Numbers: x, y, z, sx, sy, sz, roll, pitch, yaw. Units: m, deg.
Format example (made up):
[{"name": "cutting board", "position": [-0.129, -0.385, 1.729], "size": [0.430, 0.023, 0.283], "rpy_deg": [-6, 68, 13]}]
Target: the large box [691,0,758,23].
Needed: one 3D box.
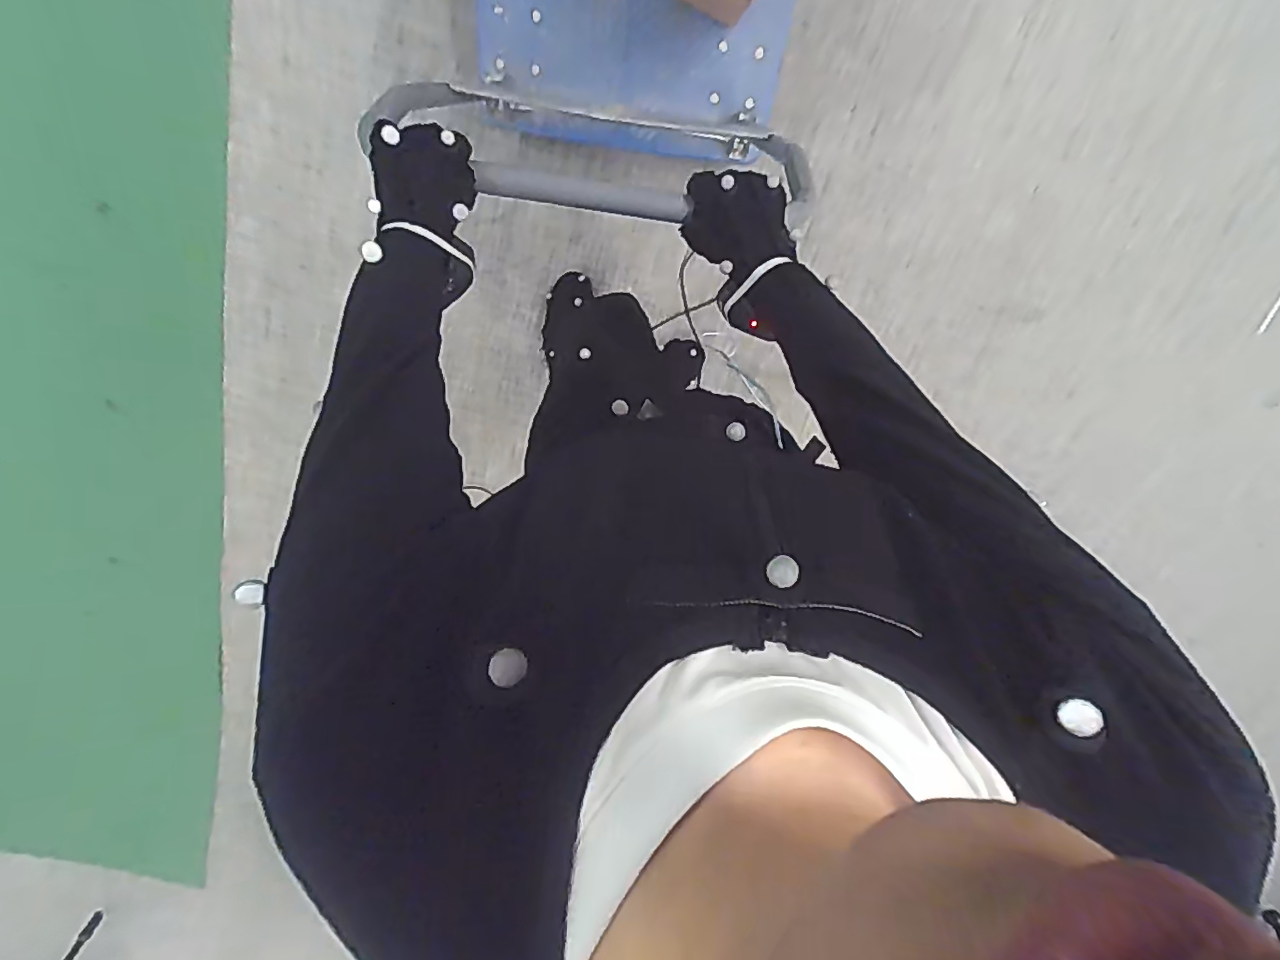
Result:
[{"name": "large box", "position": [0.050, -0.936, 0.762], "size": [0.408, 0.320, 0.320], "rpy_deg": [22, 122, -10]}]
